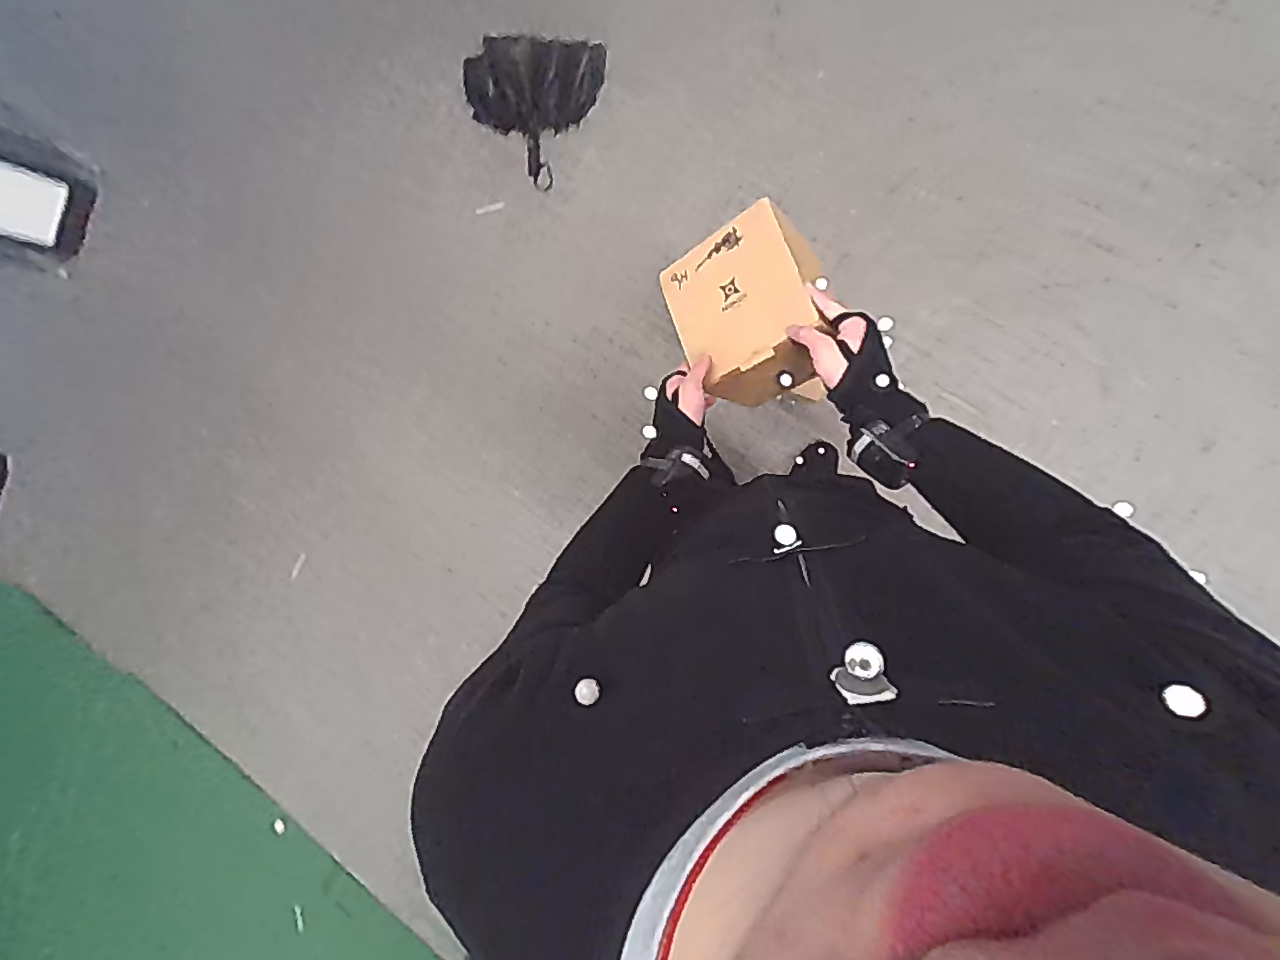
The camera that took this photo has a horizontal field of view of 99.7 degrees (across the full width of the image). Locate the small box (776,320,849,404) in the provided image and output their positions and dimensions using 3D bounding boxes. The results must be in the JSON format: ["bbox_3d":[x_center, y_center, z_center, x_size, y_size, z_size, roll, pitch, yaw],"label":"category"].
[{"bbox_3d":[0.359,-0.285,1.246,0.168,0.176,0.179,22,101,11],"label":"small box"}]

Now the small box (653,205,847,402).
[{"bbox_3d":[0.150,-0.214,0.718,0.168,0.176,0.179,-26,74,33],"label":"small box"}]
